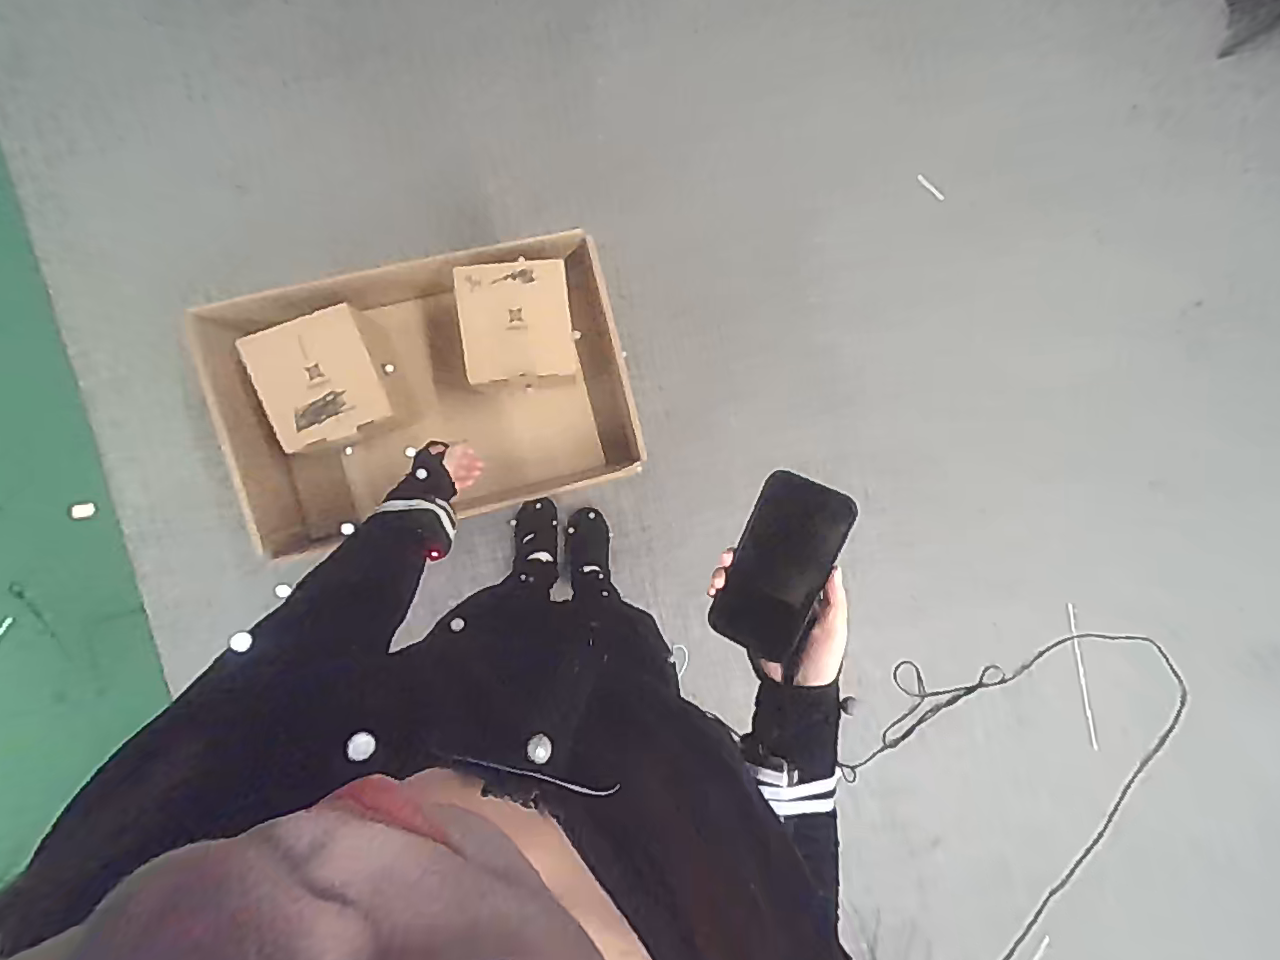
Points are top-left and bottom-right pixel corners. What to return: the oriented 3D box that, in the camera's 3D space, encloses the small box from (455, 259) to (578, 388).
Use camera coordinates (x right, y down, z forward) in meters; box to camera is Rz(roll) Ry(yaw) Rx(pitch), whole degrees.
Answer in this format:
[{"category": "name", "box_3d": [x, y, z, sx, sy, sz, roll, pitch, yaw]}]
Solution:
[{"category": "small box", "box_3d": [-0.192, -0.246, 0.891, 0.168, 0.176, 0.179, -7, 96, -6]}]
